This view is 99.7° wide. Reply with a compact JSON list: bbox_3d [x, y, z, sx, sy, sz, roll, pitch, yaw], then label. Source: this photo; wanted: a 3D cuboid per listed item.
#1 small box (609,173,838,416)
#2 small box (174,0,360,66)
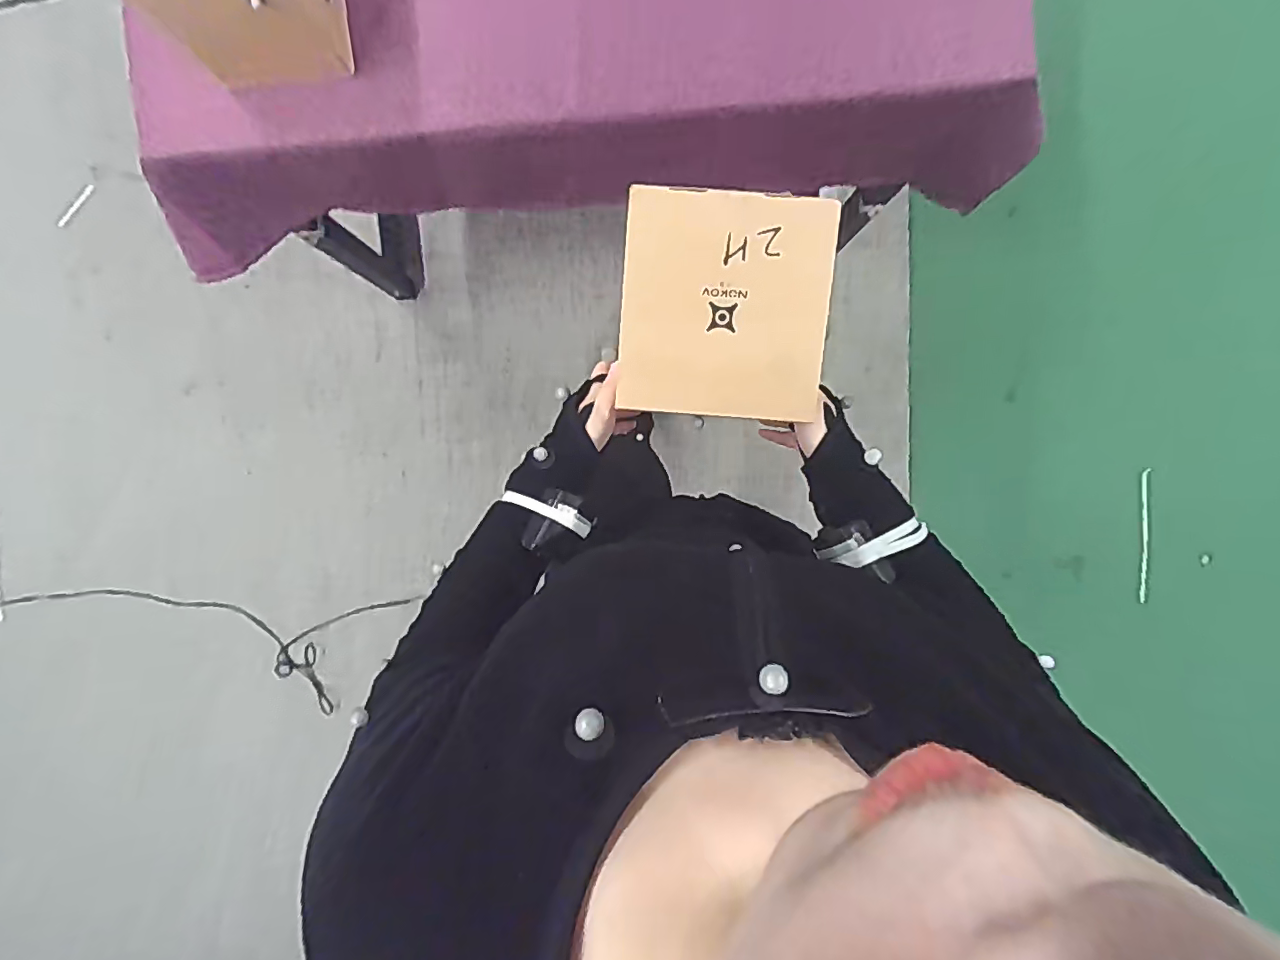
[{"bbox_3d":[0.067,-0.157,0.506,0.168,0.176,0.179,5,98,1],"label":"small box"},{"bbox_3d":[-0.470,-0.638,0.645,0.179,0.176,0.168,-6,92,0],"label":"small box"}]
